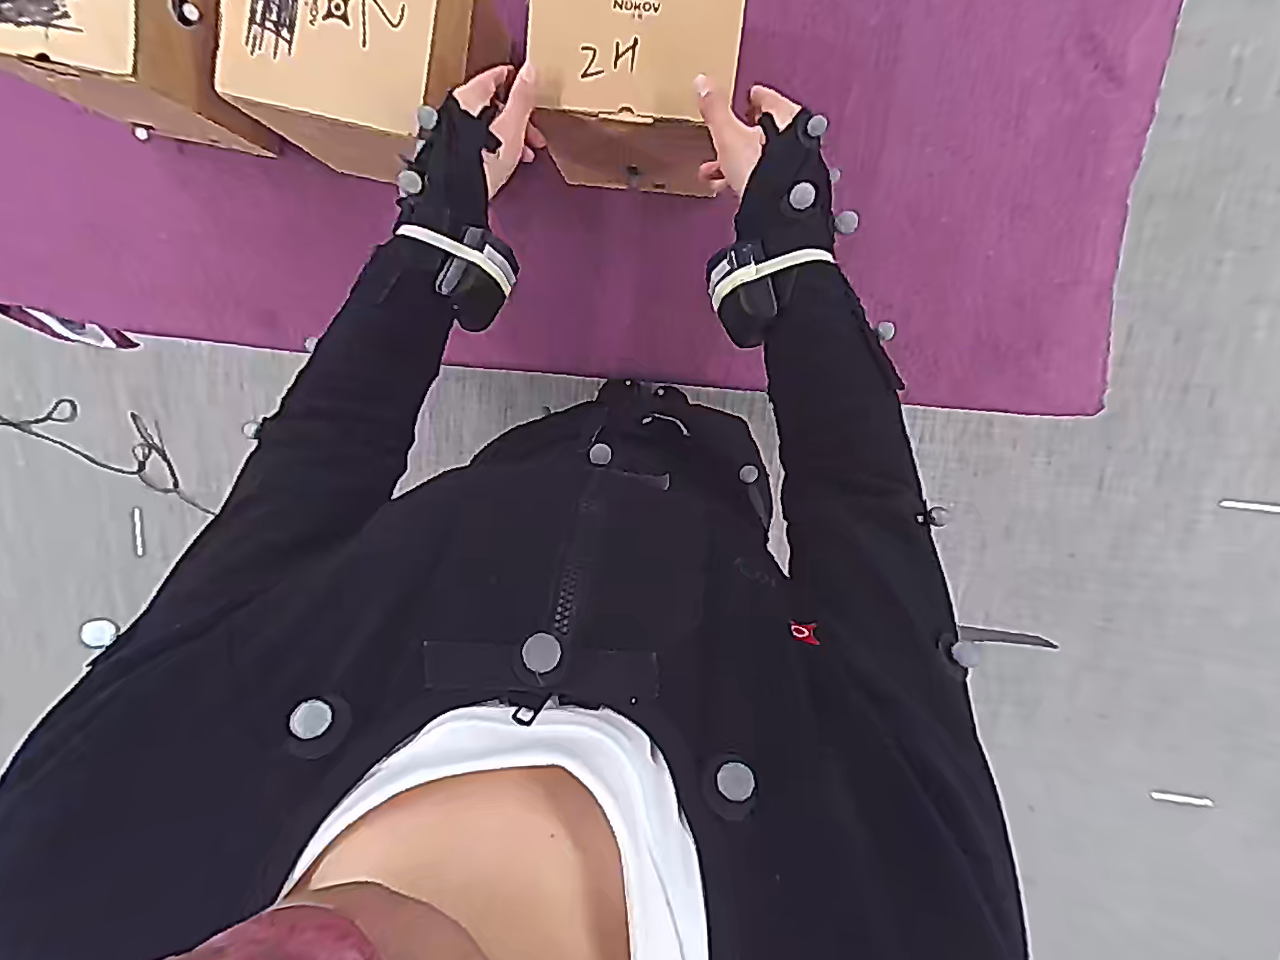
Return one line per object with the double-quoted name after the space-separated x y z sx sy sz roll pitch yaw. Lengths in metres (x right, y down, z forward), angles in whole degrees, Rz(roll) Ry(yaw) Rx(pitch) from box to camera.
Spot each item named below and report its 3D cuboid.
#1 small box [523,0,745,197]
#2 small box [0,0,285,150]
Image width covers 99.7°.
0.003 -0.386 0.490 0.168 0.176 0.179 7 100 3 "small box"
-0.471 -0.445 0.509 0.168 0.176 0.179 11 101 1 "small box"
